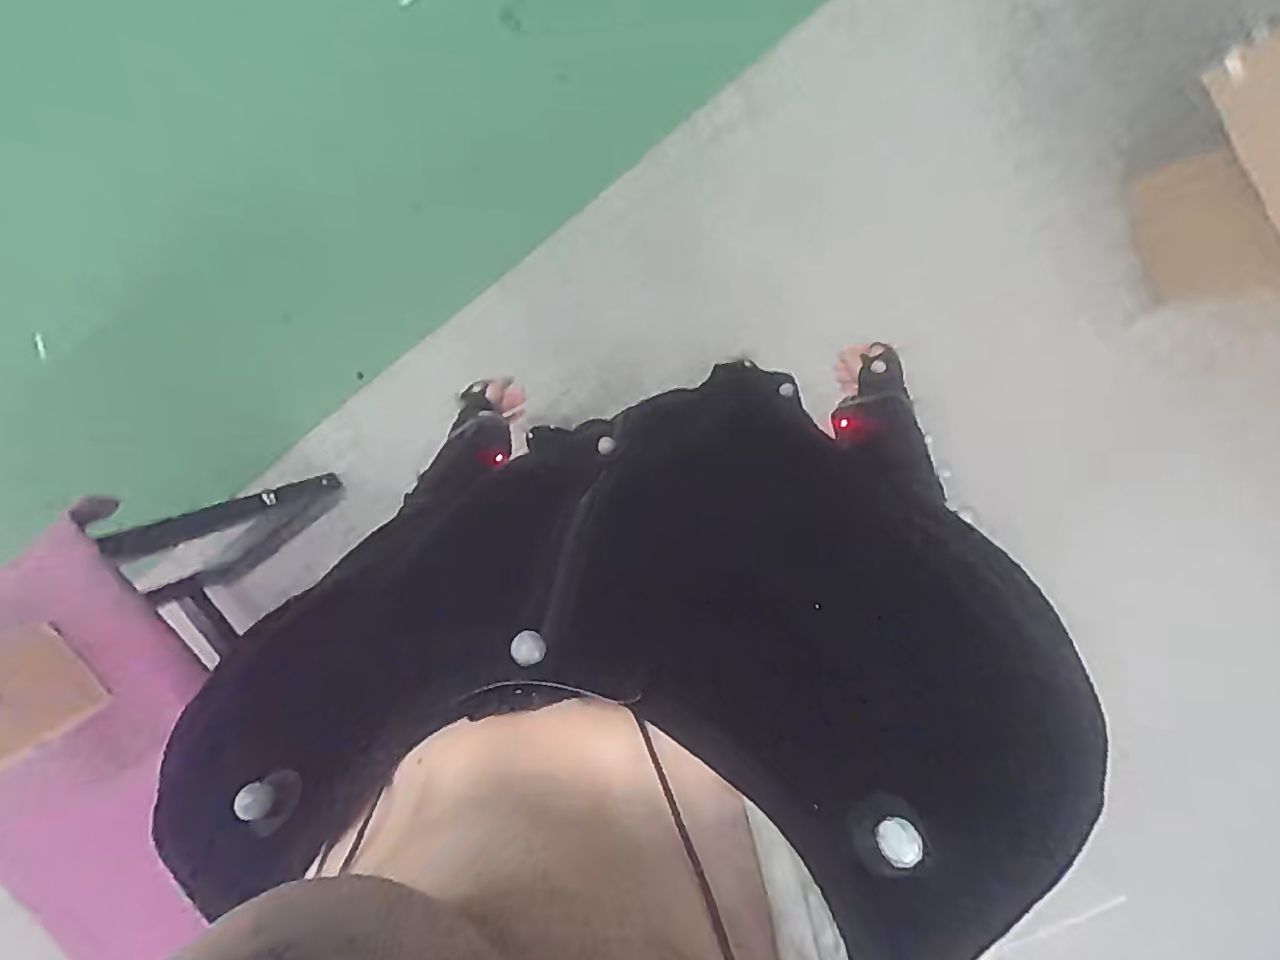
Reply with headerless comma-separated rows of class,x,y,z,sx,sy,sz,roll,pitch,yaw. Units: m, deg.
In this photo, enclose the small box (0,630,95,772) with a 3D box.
small box,-1.025,0.368,0.836,0.168,0.176,0.179,-32,96,11
